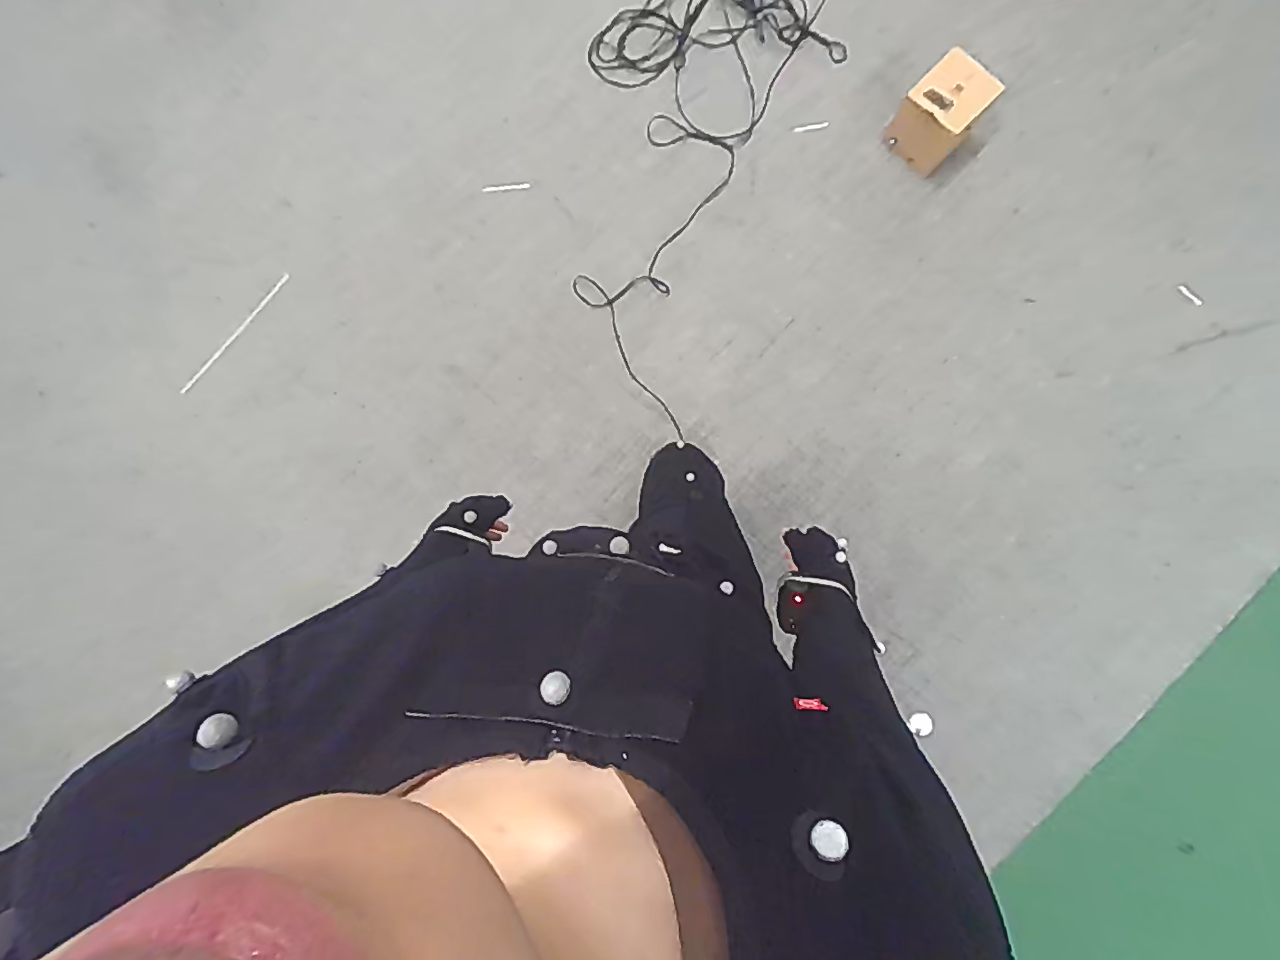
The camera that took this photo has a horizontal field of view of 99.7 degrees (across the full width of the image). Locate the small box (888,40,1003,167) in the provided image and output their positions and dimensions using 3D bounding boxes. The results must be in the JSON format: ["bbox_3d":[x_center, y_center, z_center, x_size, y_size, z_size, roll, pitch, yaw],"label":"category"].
[{"bbox_3d":[0.782,-0.970,1.413,0.179,0.176,0.168,-44,85,0],"label":"small box"}]
